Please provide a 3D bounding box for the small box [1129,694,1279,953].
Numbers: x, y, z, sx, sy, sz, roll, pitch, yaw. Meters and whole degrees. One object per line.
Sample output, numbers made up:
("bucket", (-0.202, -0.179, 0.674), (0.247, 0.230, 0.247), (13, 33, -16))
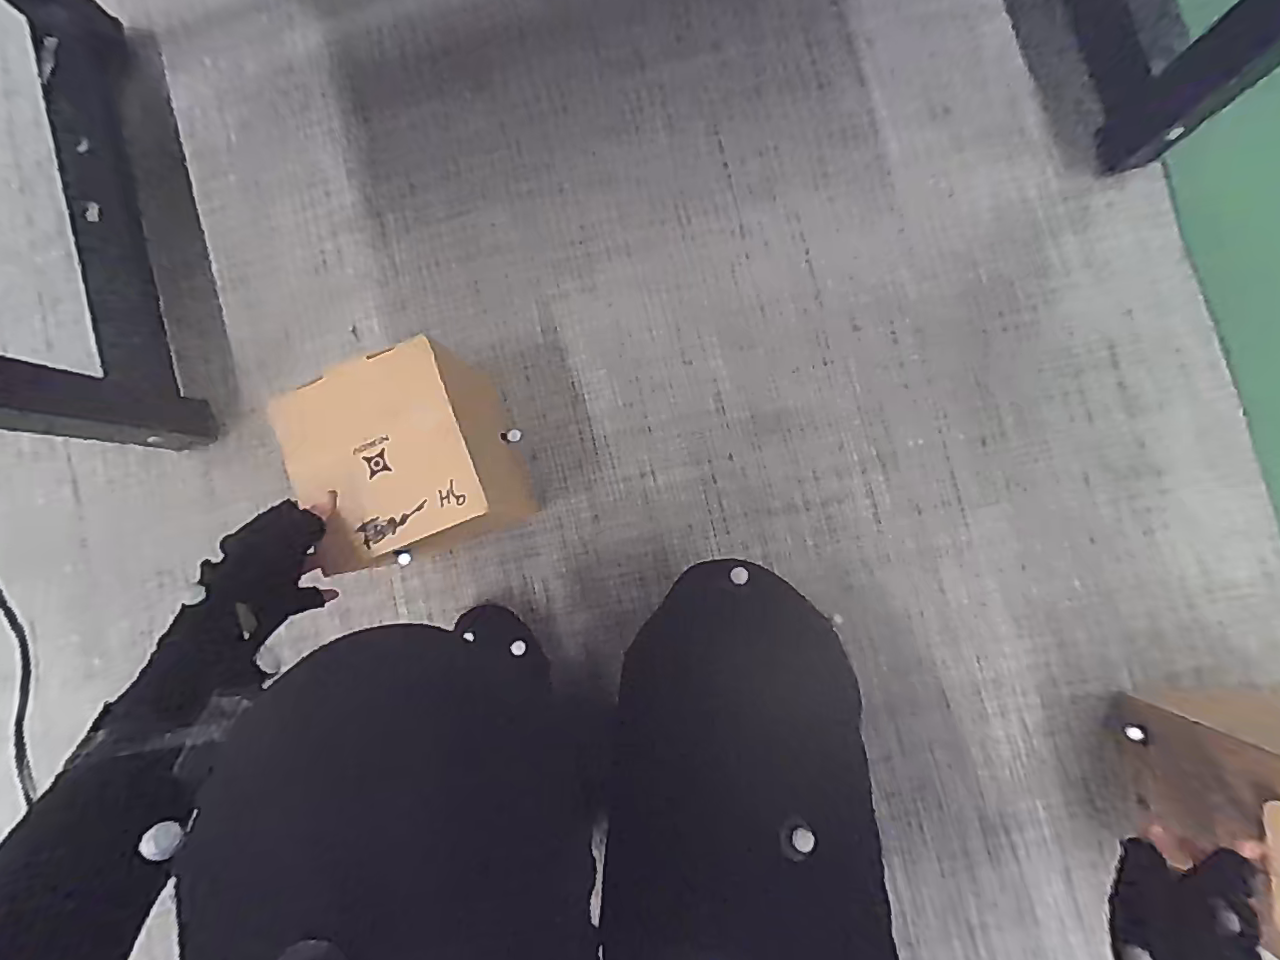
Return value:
("small box", (0.583, 0.298, 0.477), (0.179, 0.176, 0.168), (-3, 86, 4))
